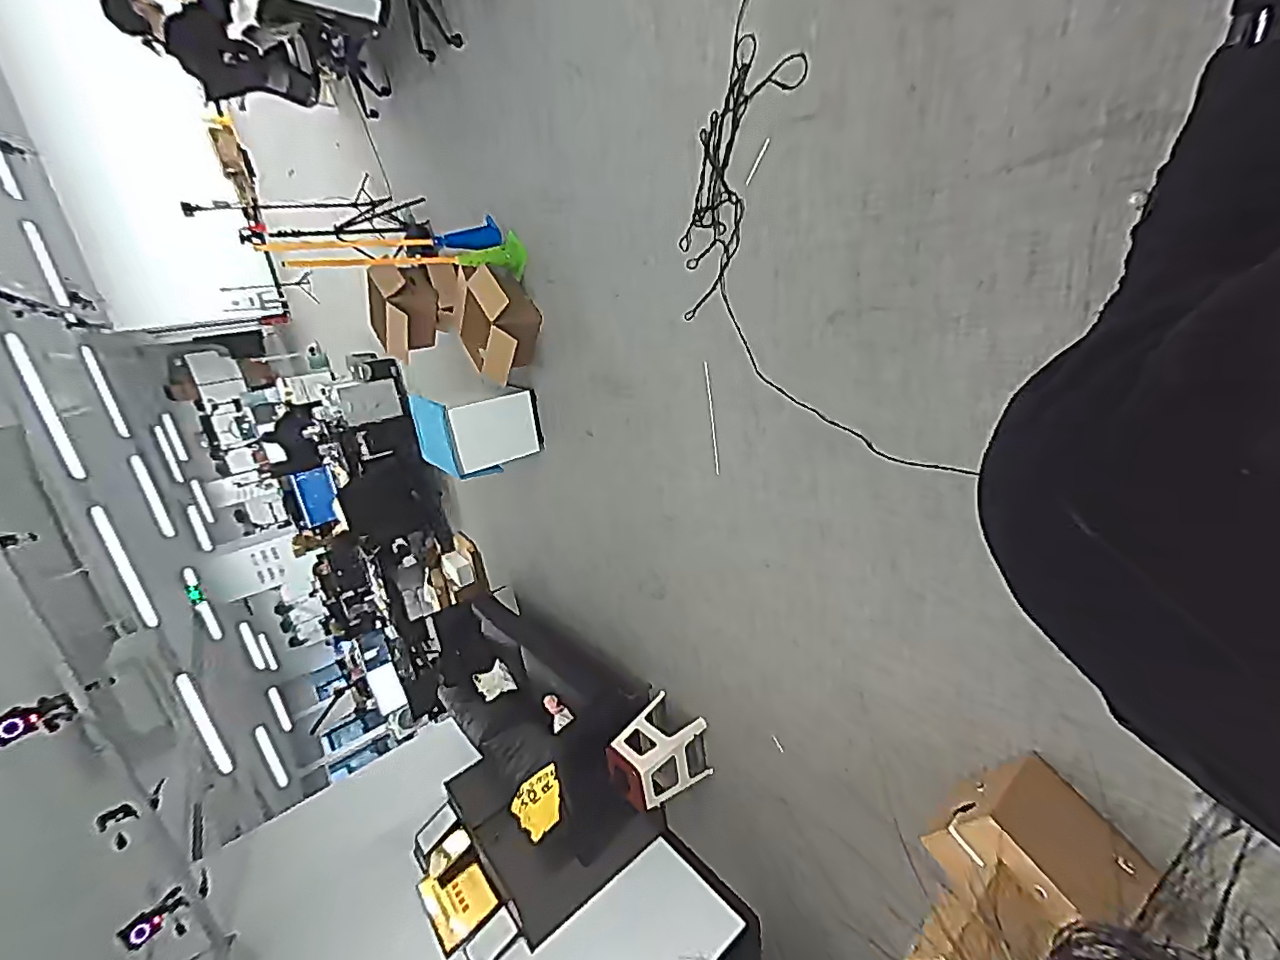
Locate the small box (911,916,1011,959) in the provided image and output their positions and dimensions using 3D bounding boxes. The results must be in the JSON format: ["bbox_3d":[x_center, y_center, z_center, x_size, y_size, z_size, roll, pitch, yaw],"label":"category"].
[{"bbox_3d":[0.783,1.190,1.295,0.168,0.176,0.179,49,143,27],"label":"small box"}]
